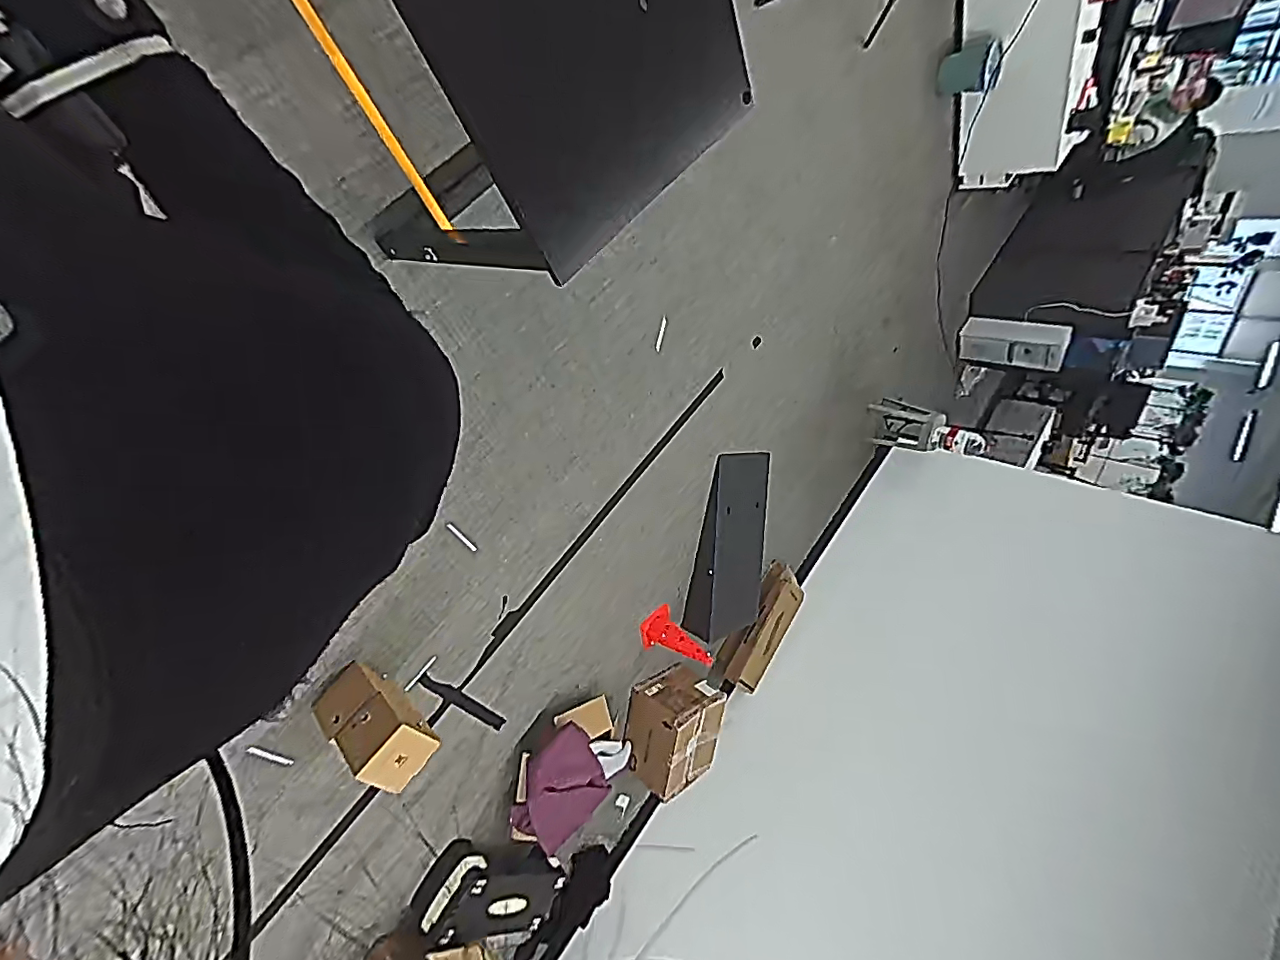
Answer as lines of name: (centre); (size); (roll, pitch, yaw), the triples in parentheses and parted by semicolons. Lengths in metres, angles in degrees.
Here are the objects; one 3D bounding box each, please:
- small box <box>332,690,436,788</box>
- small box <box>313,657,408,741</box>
small box: (-0.724, 0.726, 1.527); (0.168, 0.176, 0.179); (-50, 136, -20)
small box: (-0.845, 0.672, 1.622); (0.179, 0.176, 0.168); (-50, 138, -18)
